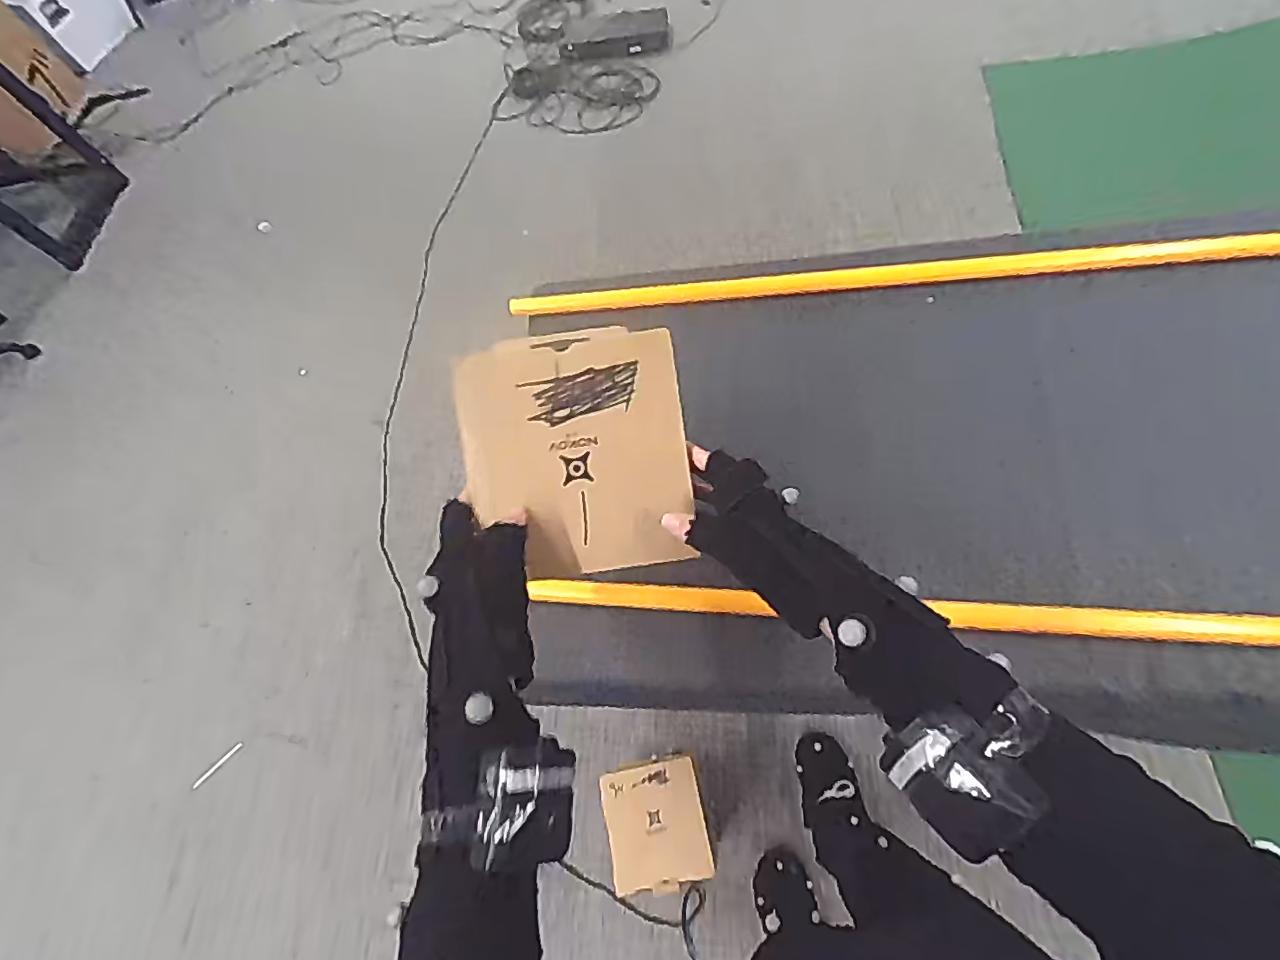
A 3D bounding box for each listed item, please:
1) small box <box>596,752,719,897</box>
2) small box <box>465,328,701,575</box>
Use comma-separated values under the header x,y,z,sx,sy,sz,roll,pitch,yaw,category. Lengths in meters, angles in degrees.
x,y,z,sx,sy,sz,roll,pitch,yaw,category
0.036,0.601,0.965,0.168,0.176,0.179,-18,63,4,small box
-0.045,-0.019,0.490,0.168,0.176,0.179,-8,88,0,small box
